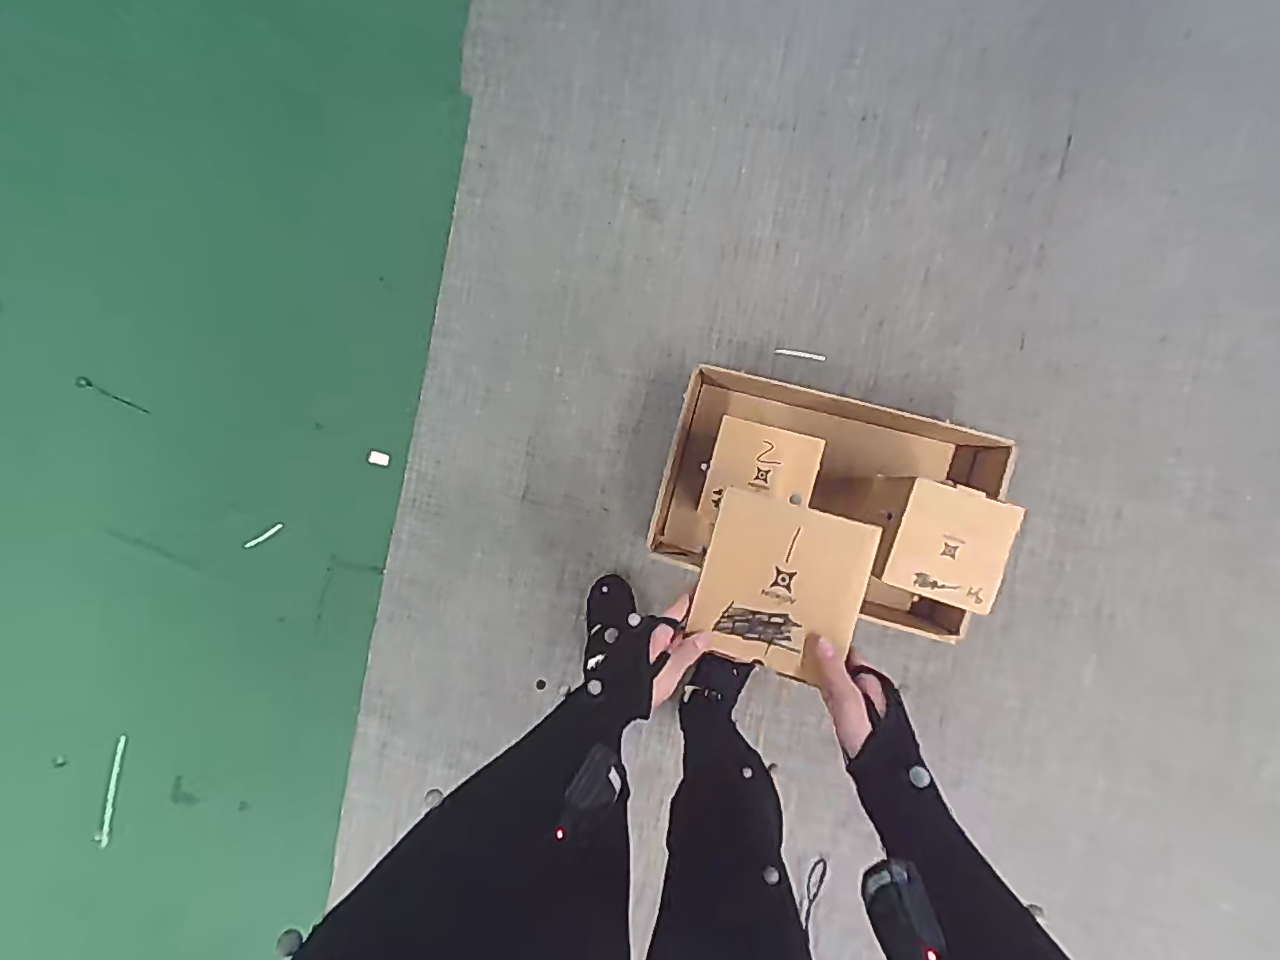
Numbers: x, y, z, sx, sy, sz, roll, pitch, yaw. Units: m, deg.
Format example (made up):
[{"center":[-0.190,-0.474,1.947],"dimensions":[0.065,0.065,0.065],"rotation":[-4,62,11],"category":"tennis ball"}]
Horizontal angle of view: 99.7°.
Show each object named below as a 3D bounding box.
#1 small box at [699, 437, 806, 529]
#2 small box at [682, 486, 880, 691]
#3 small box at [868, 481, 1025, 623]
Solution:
[{"center":[0.219,0.026,1.092],"dimensions":[0.168,0.176,0.179],"rotation":[15,90,7],"category":"small box"},{"center":[0.156,0.115,0.637],"dimensions":[0.168,0.176,0.179],"rotation":[15,88,8],"category":"small box"},{"center":[0.481,0.109,0.892],"dimensions":[0.168,0.176,0.179],"rotation":[18,91,7],"category":"small box"}]
